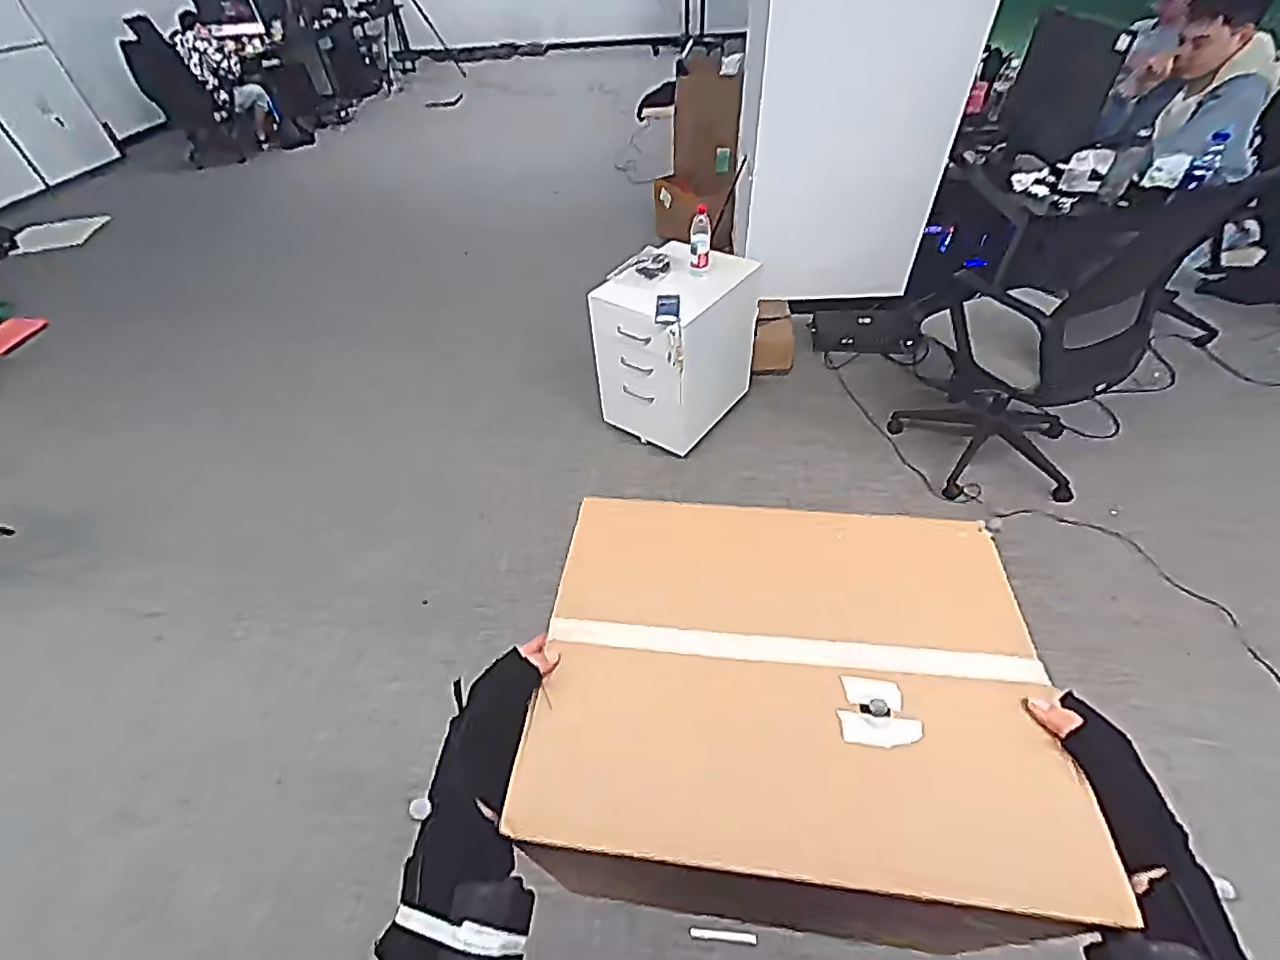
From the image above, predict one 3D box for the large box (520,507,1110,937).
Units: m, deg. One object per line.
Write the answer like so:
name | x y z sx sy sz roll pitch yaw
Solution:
large box | 0.130 0.251 0.575 0.408 0.320 0.320 4 48 7
